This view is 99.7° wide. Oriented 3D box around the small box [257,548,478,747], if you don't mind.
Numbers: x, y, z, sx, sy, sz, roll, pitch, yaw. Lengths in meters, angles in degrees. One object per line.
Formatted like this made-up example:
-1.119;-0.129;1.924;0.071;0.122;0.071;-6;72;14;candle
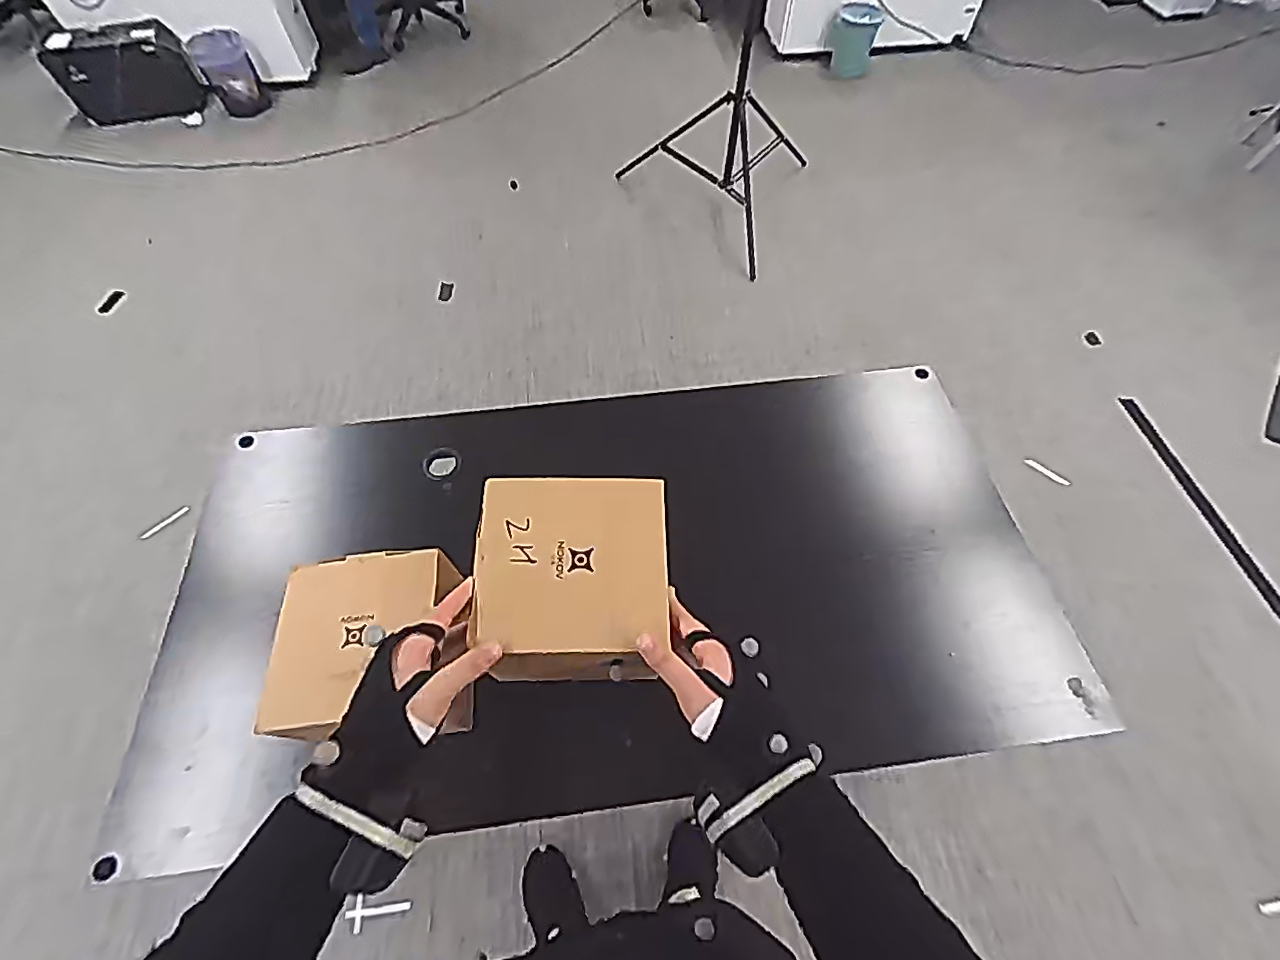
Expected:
-0.293;0.198;0.628;0.168;0.176;0.179;-7;60;-3;small box
